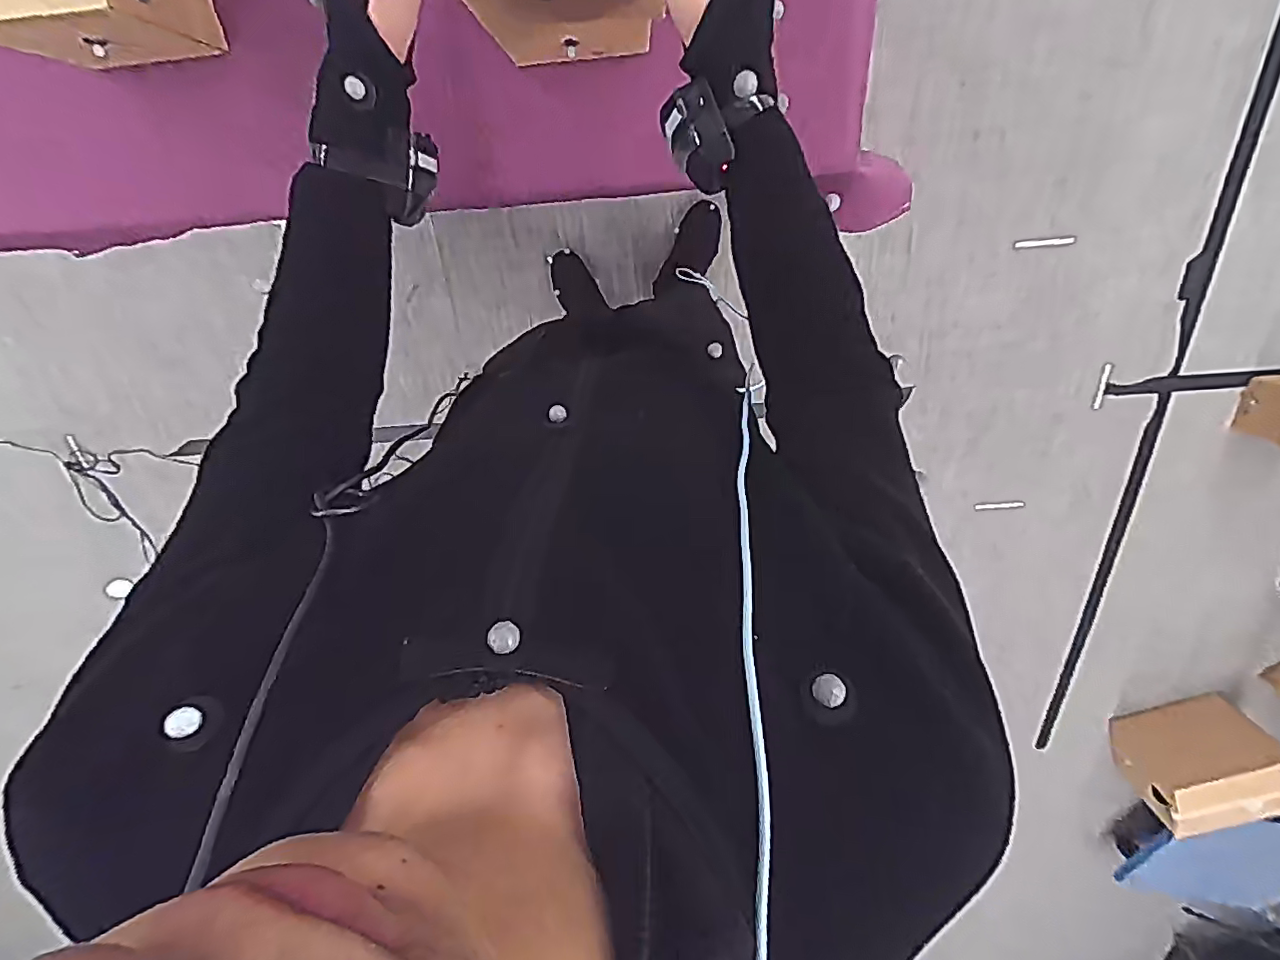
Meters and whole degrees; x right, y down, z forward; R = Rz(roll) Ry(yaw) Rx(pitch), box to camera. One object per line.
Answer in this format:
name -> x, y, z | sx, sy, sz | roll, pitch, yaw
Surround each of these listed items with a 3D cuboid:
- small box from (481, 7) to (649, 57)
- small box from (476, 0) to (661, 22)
small box -> -0.076, -0.559, 0.553 | 0.168, 0.176, 0.179 | -4, 116, 1
small box -> -0.064, -0.477, 0.411 | 0.179, 0.176, 0.168 | -3, 117, 0
